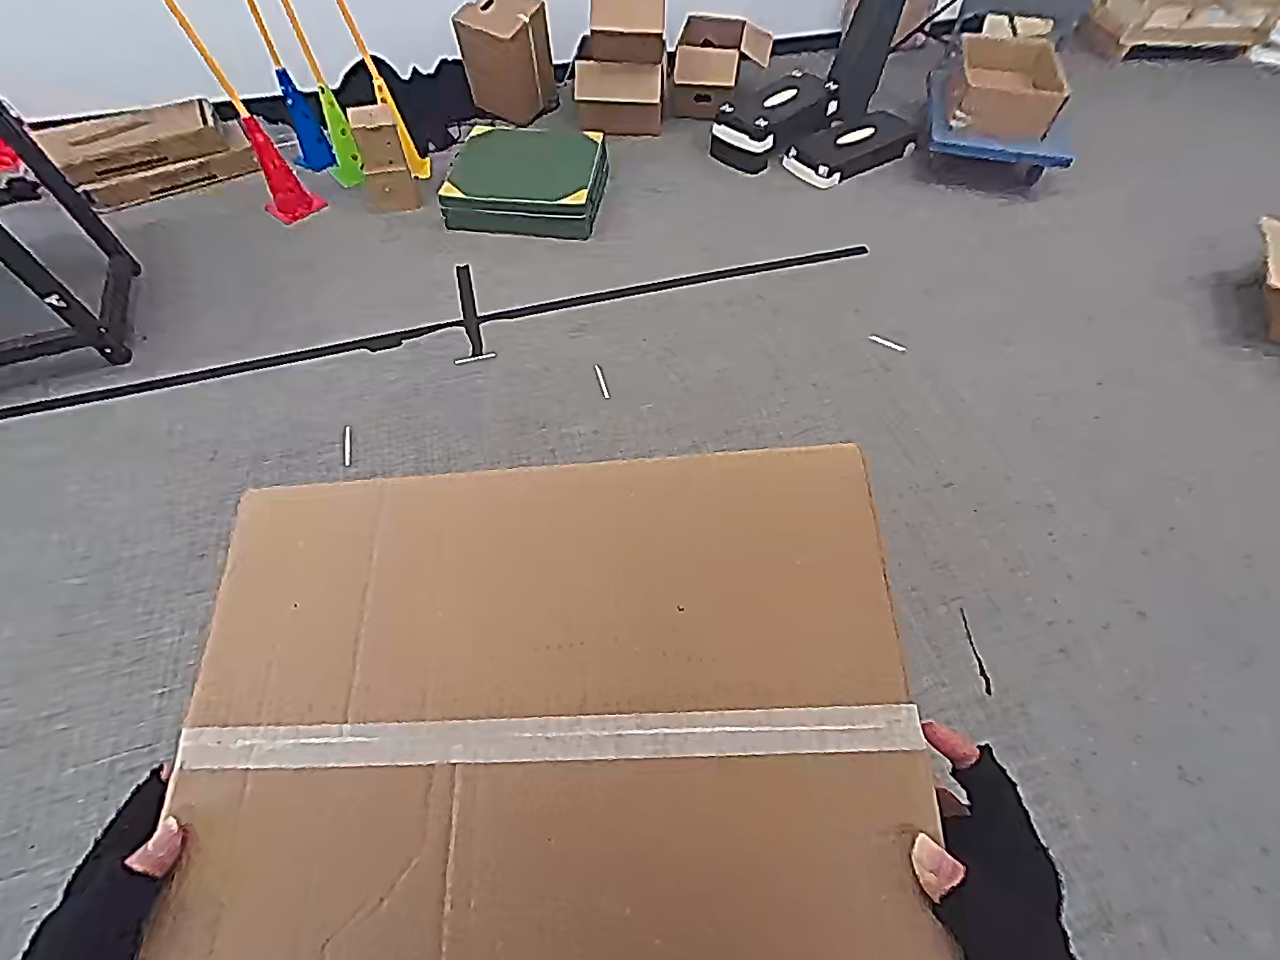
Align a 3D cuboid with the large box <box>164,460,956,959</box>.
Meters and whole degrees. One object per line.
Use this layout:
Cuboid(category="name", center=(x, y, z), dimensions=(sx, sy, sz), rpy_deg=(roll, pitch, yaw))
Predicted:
Cuboid(category="large box", center=(-0.037, 0.199, 0.438), dimensions=(0.408, 0.320, 0.320), rpy_deg=(-4, 68, 6))
